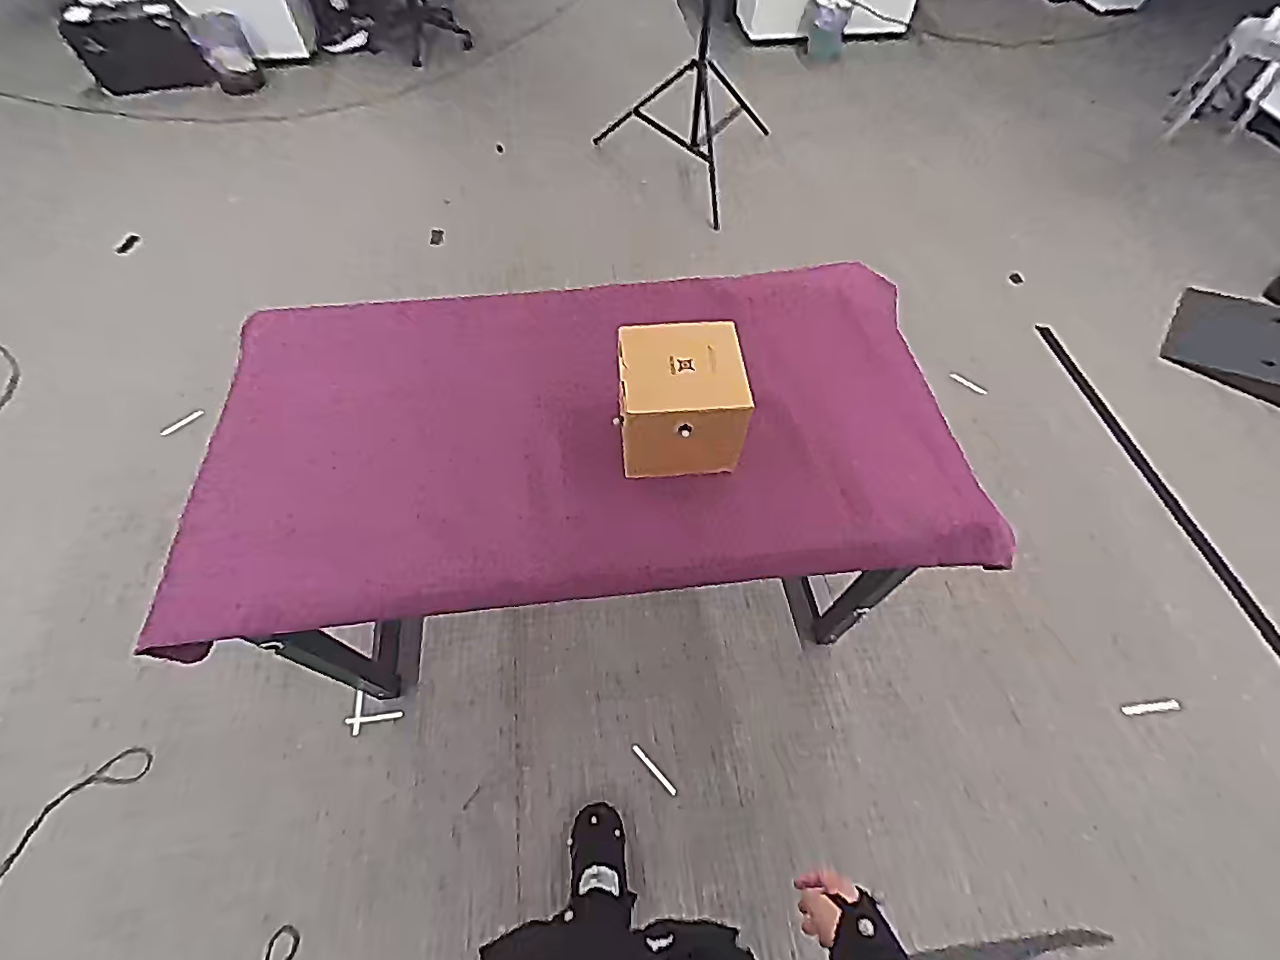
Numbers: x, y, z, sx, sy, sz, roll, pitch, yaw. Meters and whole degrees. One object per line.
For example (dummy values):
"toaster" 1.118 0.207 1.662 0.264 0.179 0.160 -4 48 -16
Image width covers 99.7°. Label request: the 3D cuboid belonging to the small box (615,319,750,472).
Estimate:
"small box" 0.056 -0.123 0.832 0.179 0.176 0.168 -4 59 -4
